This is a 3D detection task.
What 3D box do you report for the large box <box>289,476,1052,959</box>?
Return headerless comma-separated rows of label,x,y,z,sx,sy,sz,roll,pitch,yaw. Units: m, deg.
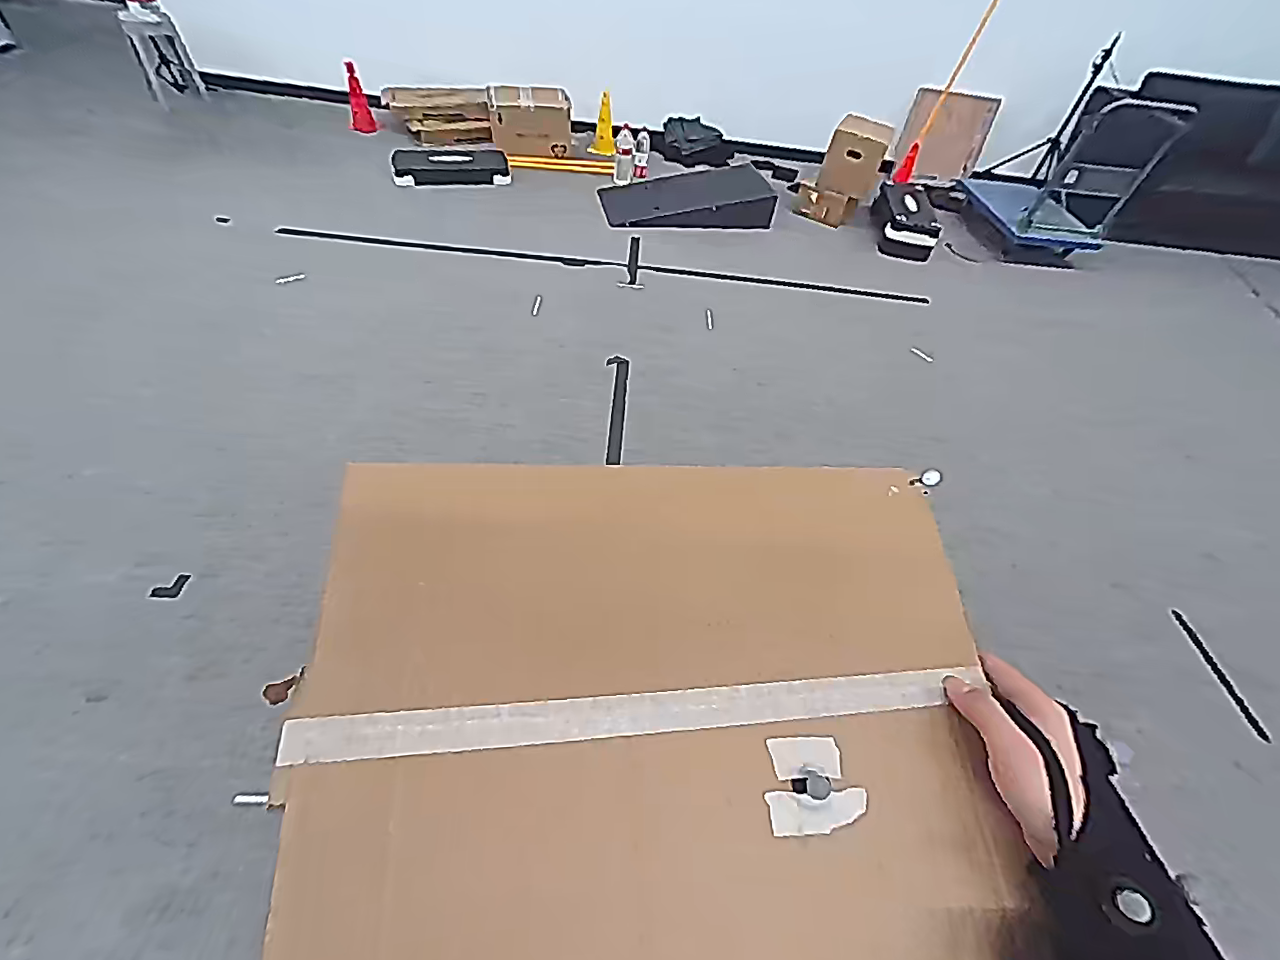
large box,-0.004,0.201,0.454,0.408,0.320,0.320,0,65,-12
